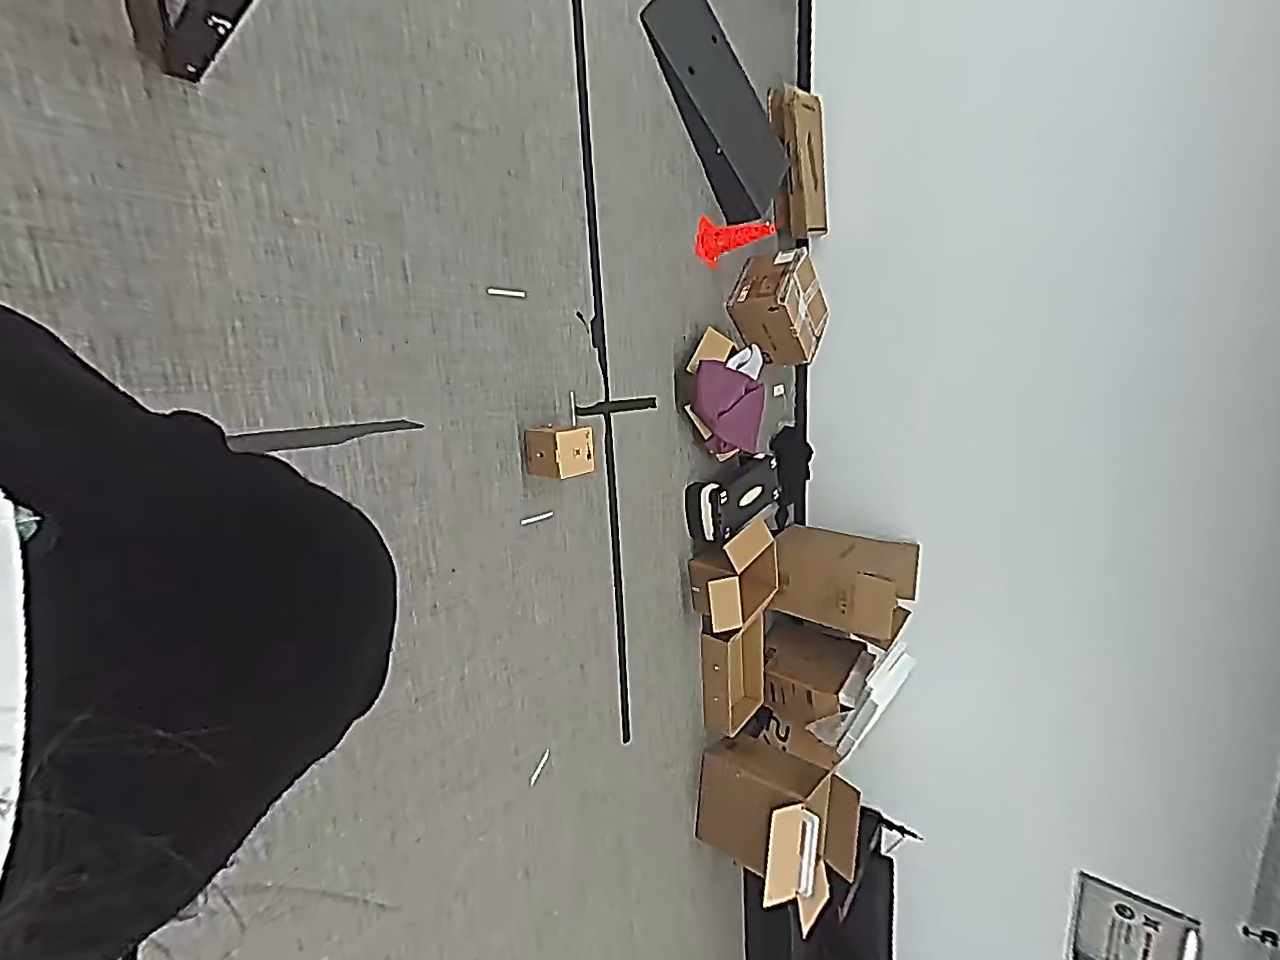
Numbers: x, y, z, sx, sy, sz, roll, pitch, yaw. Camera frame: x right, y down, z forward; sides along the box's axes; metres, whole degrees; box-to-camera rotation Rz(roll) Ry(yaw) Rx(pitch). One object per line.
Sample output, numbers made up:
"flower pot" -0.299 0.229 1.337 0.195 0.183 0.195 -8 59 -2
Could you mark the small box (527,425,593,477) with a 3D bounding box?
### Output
"small box" -0.295 -0.109 1.956 0.179 0.176 0.168 -16 108 -48
